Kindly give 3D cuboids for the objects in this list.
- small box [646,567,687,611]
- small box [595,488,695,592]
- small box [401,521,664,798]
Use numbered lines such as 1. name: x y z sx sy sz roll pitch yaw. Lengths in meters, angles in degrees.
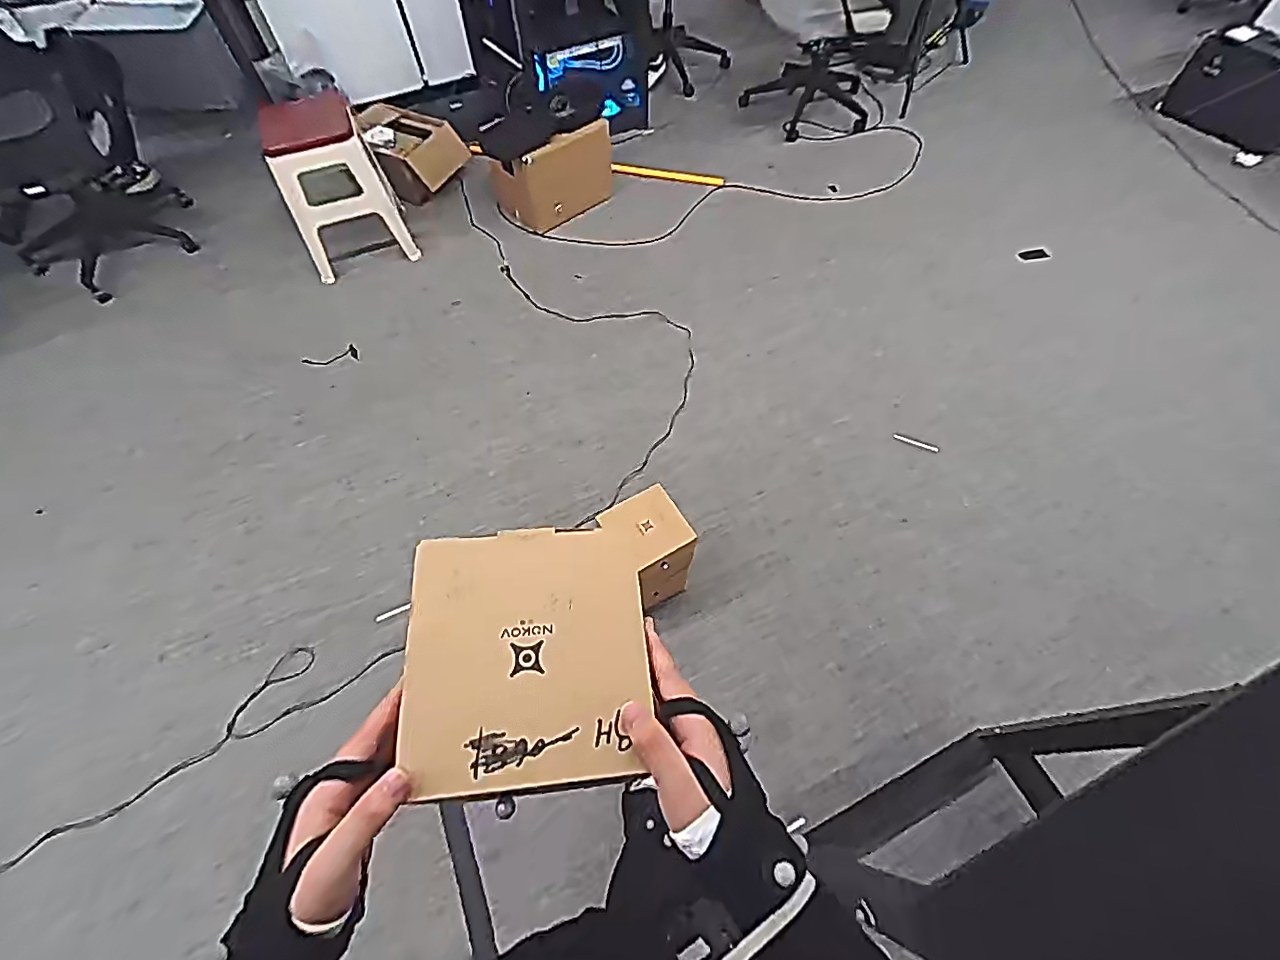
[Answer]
1. small box: 0.005 0.241 1.425 0.179 0.176 0.168 -26 63 -13
2. small box: 0.010 0.155 1.287 0.179 0.176 0.168 -28 64 -16
3. small box: -0.080 0.152 0.448 0.168 0.176 0.179 -4 59 -7
